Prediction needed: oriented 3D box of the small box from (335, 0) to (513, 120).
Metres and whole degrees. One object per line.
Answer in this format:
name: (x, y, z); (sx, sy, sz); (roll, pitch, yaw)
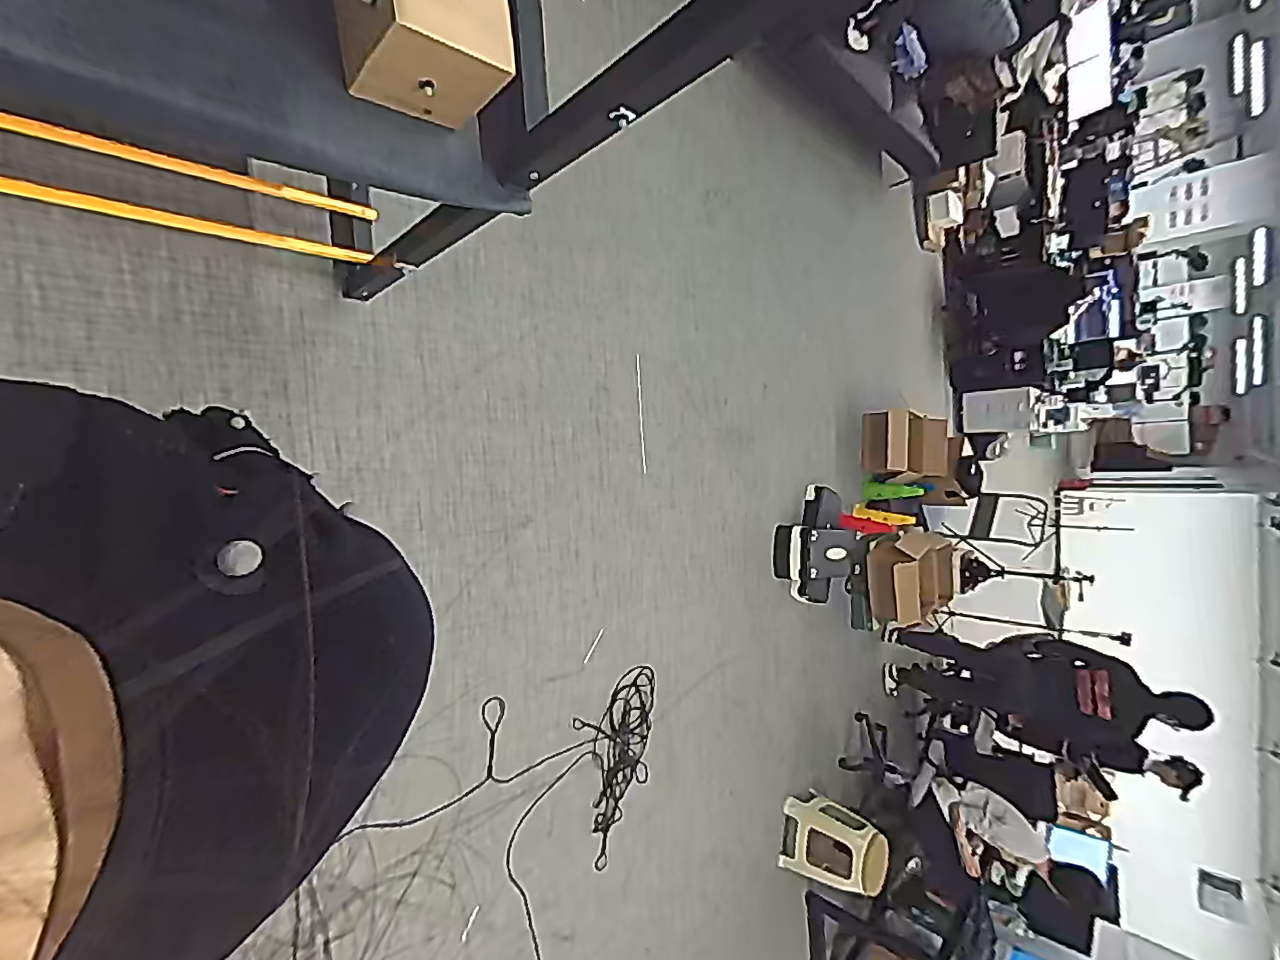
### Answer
small box: (-0.296, -0.632, 0.731); (0.168, 0.176, 0.179); (-12, 98, -46)
